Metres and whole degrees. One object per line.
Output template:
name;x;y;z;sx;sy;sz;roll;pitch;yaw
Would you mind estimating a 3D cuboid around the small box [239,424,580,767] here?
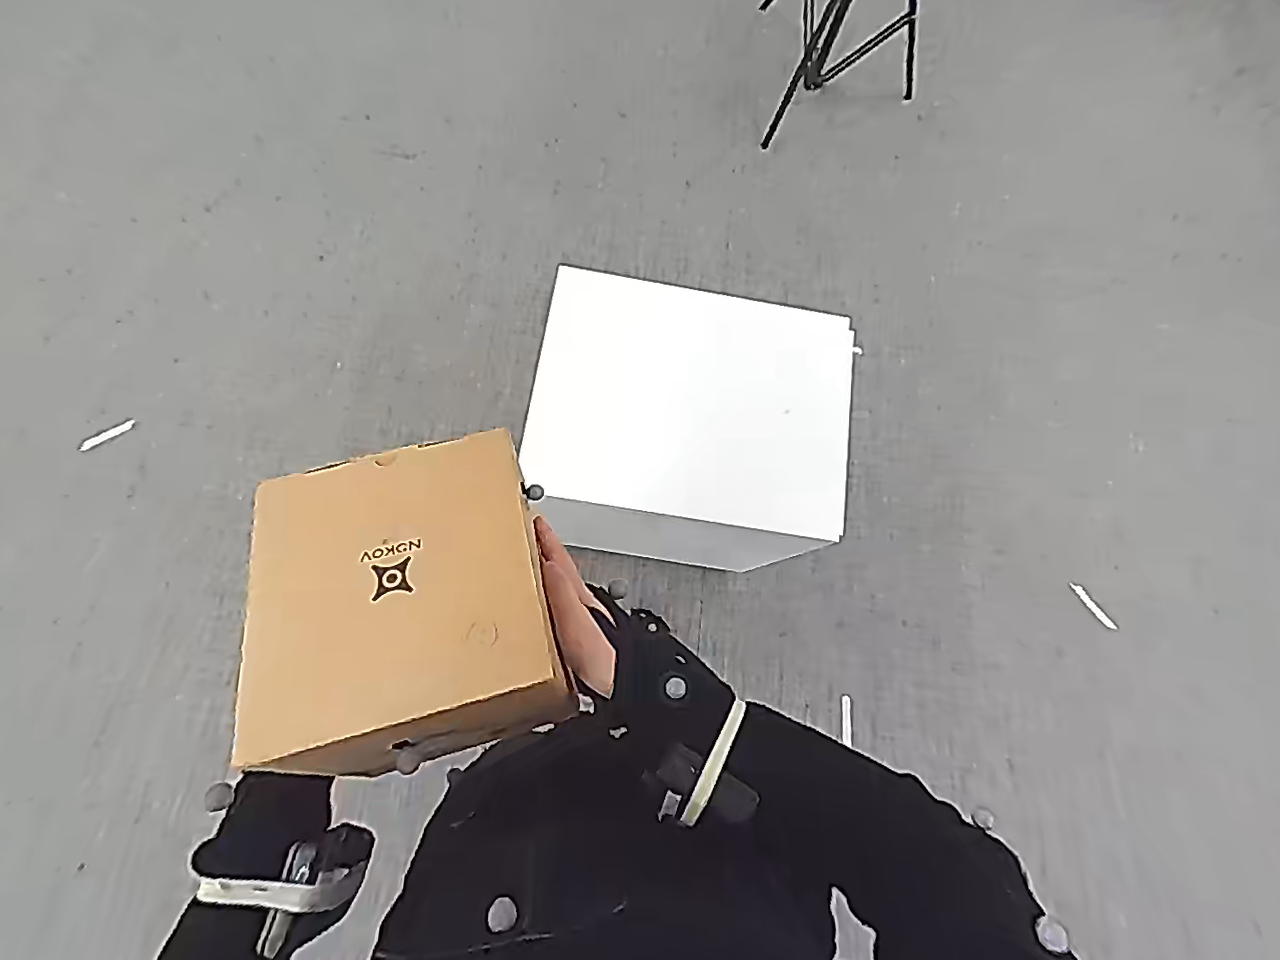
small box;-0.144;0.091;0.389;0.168;0.176;0.179;-13;60;-8
